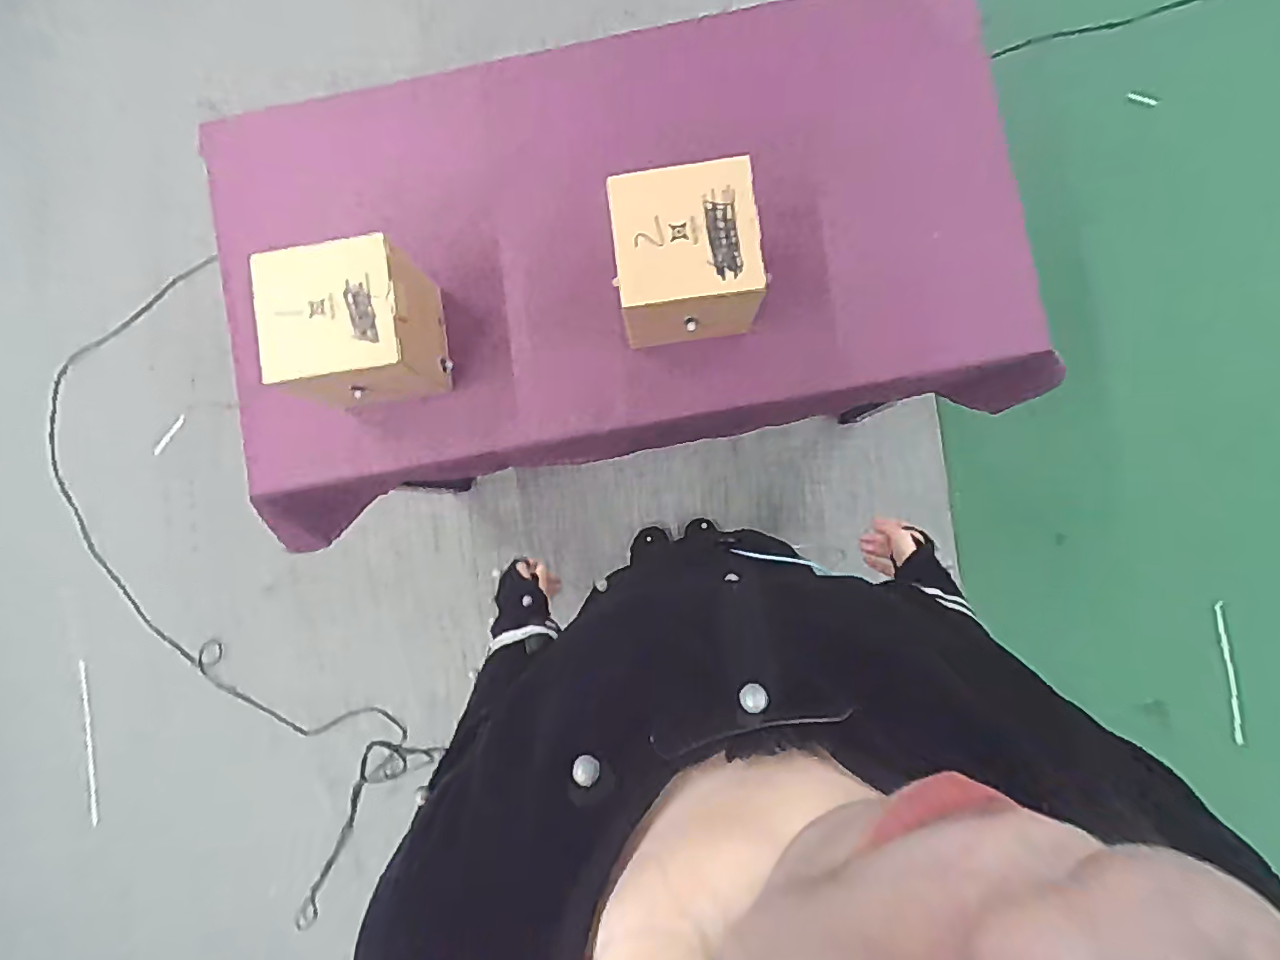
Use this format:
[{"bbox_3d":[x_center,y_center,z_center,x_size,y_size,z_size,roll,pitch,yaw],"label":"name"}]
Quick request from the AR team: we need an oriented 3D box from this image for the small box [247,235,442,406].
[{"bbox_3d":[-0.387,-0.206,0.742,0.179,0.176,0.168,-9,86,2],"label":"small box"}]
